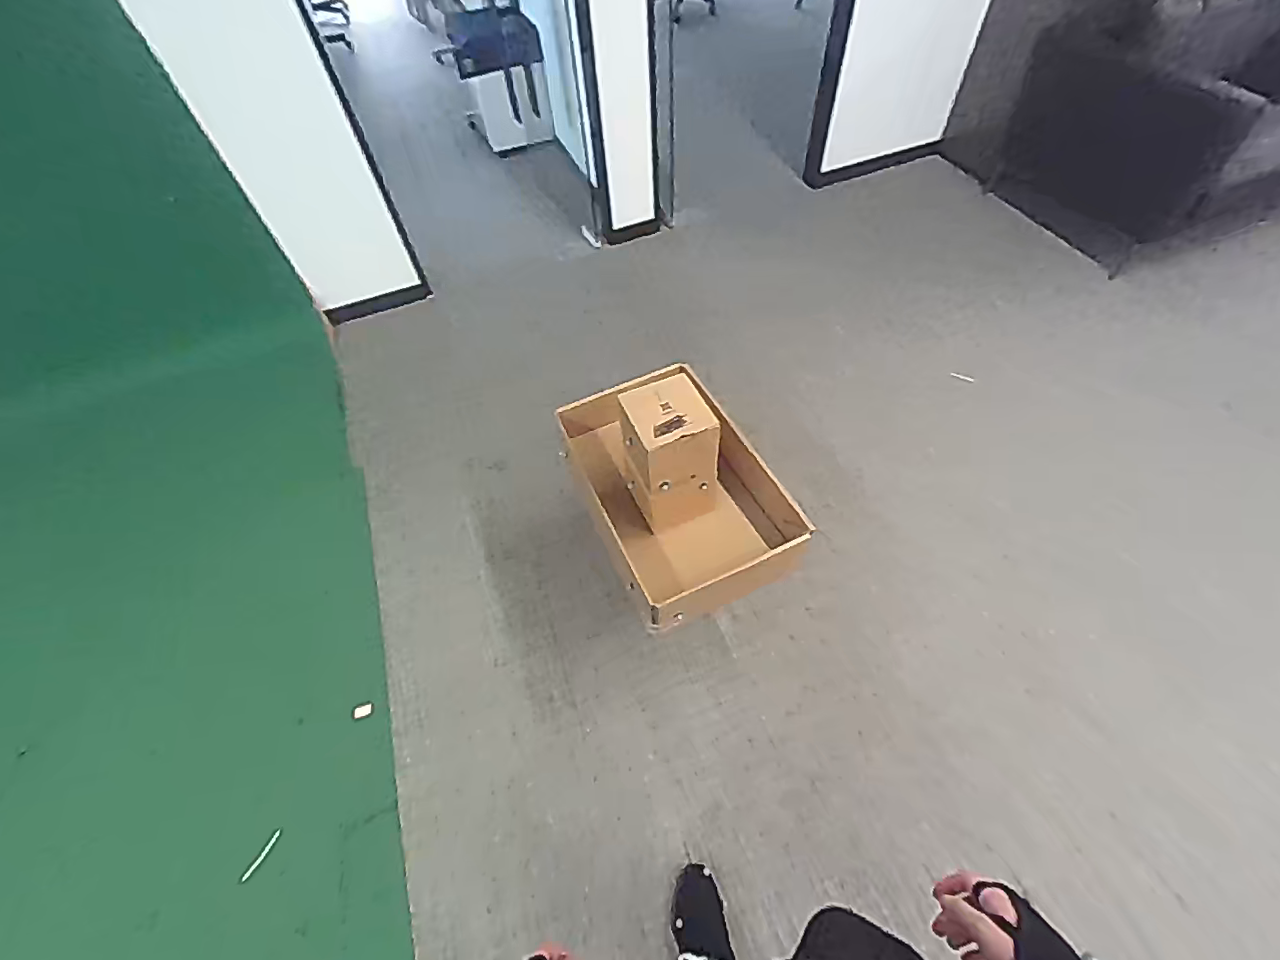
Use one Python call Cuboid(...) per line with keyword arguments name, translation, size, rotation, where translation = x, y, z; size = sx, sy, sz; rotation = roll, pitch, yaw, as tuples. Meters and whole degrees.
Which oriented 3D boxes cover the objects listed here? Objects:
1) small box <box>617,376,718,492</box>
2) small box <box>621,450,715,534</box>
Cuboid(name="small box", translation=(0.060, -0.094, 1.198), size=(0.168, 0.176, 0.179), rotation=(-20, 54, -10))
Cuboid(name="small box", translation=(0.070, 0.007, 1.327), size=(0.179, 0.176, 0.168), rotation=(-22, 55, -12))
